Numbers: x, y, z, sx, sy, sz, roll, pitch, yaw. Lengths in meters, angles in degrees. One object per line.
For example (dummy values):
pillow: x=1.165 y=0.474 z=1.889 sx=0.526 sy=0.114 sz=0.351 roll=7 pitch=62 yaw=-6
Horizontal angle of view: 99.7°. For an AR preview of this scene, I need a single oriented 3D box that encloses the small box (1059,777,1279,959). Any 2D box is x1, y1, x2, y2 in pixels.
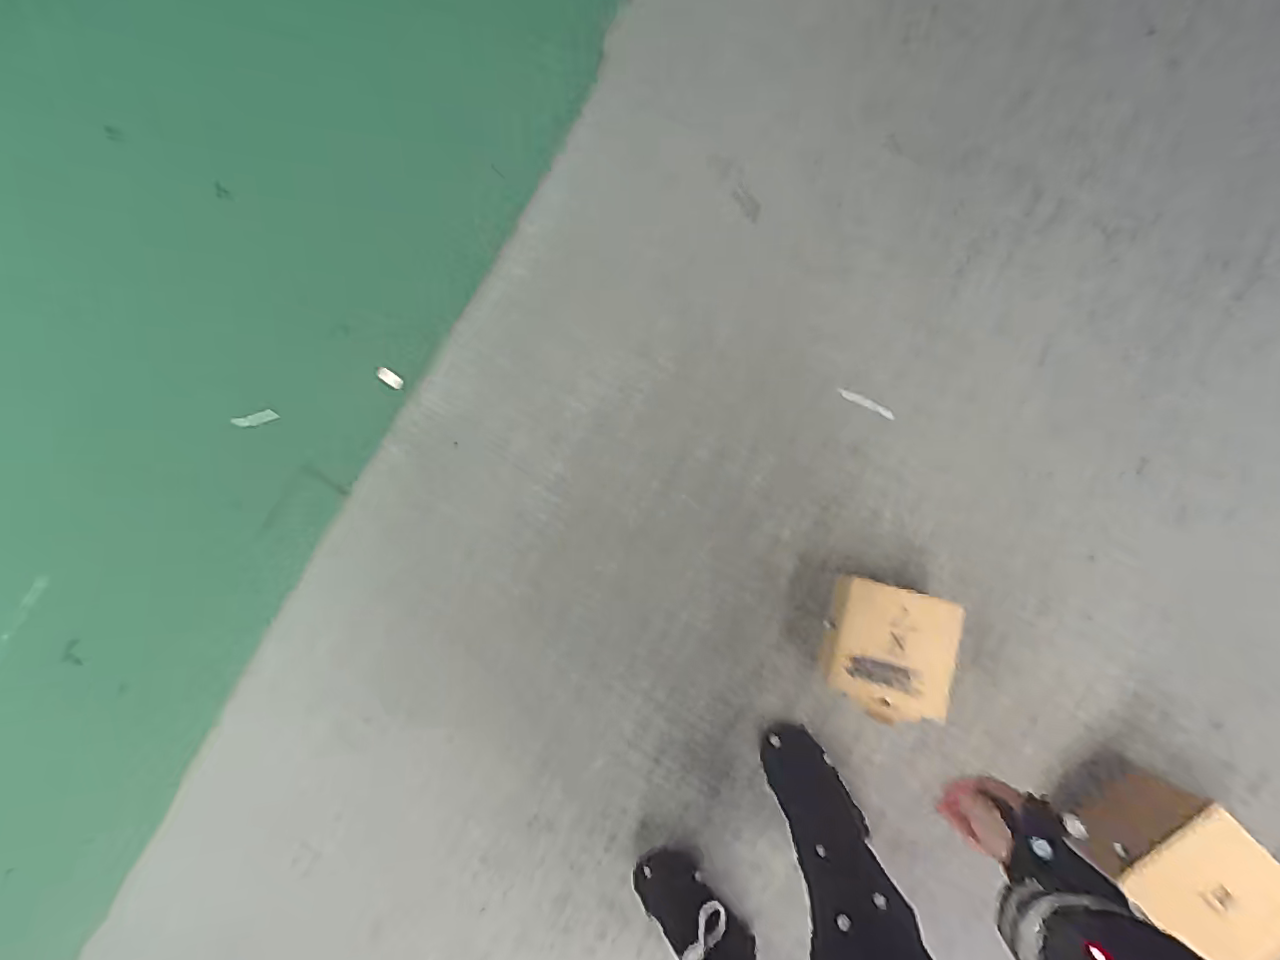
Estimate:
small box: x=0.766 y=0.570 z=0.773 sx=0.179 sy=0.176 sz=0.168 roll=-41 pitch=76 yaw=3
